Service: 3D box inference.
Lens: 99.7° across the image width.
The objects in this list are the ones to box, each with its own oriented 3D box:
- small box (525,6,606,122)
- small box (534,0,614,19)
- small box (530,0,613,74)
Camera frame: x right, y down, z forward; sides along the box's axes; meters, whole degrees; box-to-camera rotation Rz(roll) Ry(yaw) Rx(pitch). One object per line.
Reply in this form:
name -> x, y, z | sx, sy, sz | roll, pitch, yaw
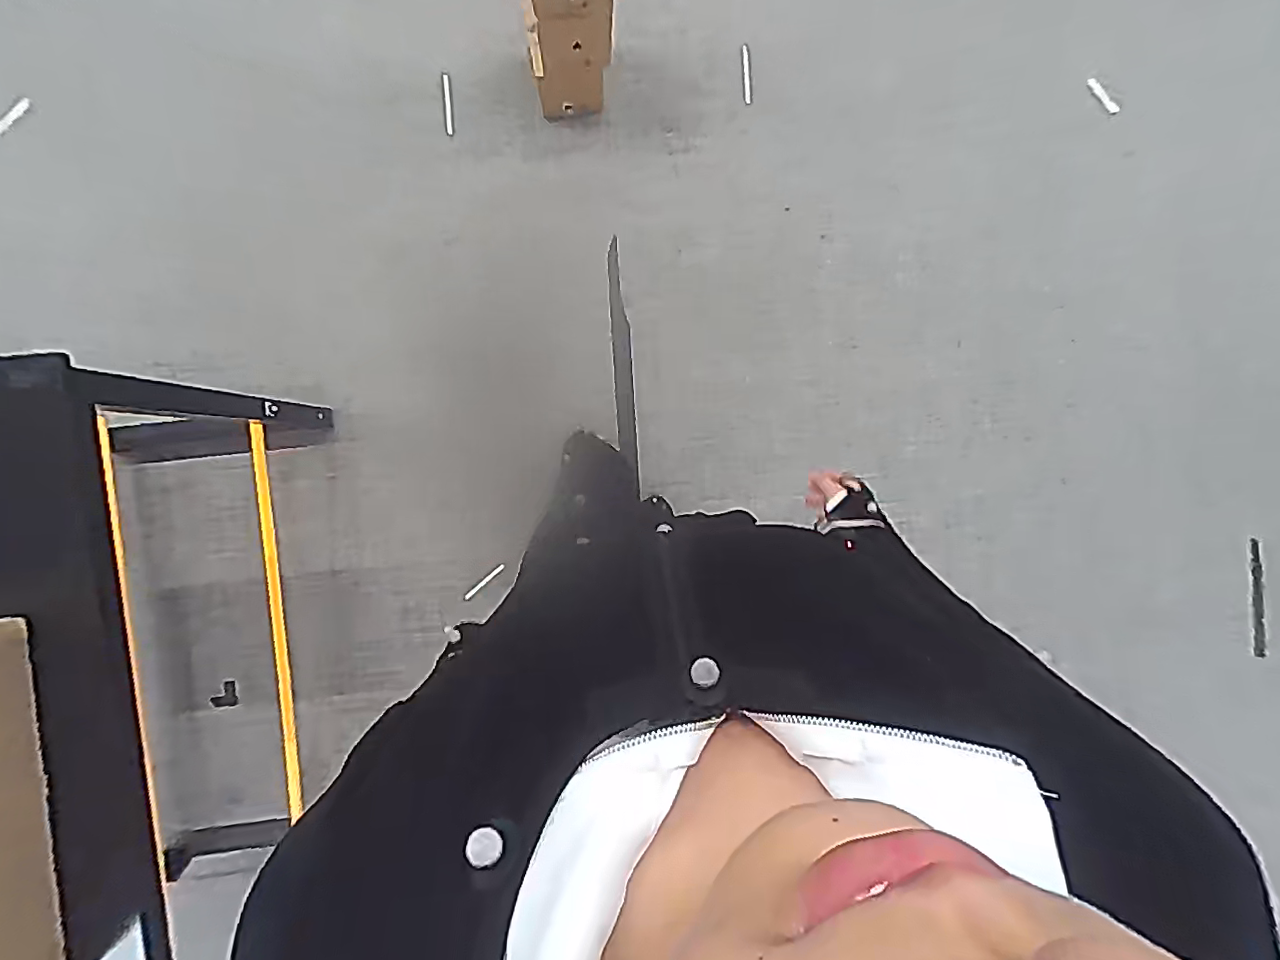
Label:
small box -> -0.182, -1.045, 1.357 | 0.168, 0.176, 0.179 | -11, 94, -2
small box -> -0.140, -1.037, 1.029 | 0.168, 0.176, 0.179 | -7, 93, -2
small box -> -0.156, -1.039, 1.194 | 0.168, 0.176, 0.179 | -12, 93, -2
